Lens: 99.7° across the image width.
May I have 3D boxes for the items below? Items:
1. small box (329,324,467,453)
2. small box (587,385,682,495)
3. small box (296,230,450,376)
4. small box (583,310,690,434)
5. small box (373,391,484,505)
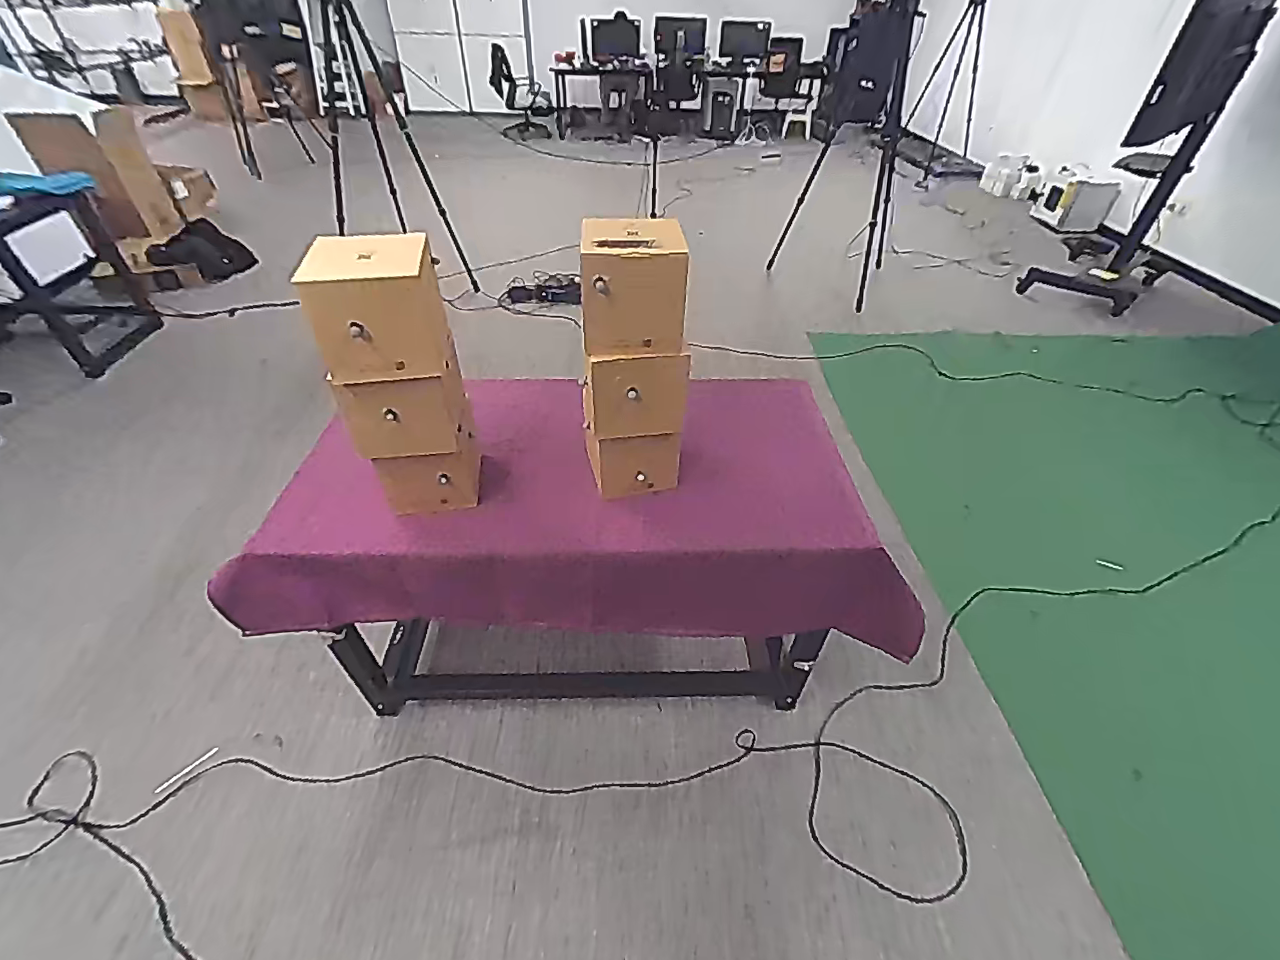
[{"bbox_3d":[-0.417,-0.164,0.972,0.179,0.176,0.168,-5,43,-7],"label":"small box"},{"bbox_3d":[-0.017,-0.093,1.142,0.168,0.176,0.179,-9,44,-10],"label":"small box"},{"bbox_3d":[-0.404,-0.276,0.854,0.168,0.176,0.179,-7,43,-10],"label":"small box"},{"bbox_3d":[-0.010,-0.200,1.016,0.179,0.176,0.168,-6,43,-7],"label":"small box"},{"bbox_3d":[-0.419,-0.061,1.101,0.168,0.176,0.179,-4,42,-7],"label":"small box"}]
